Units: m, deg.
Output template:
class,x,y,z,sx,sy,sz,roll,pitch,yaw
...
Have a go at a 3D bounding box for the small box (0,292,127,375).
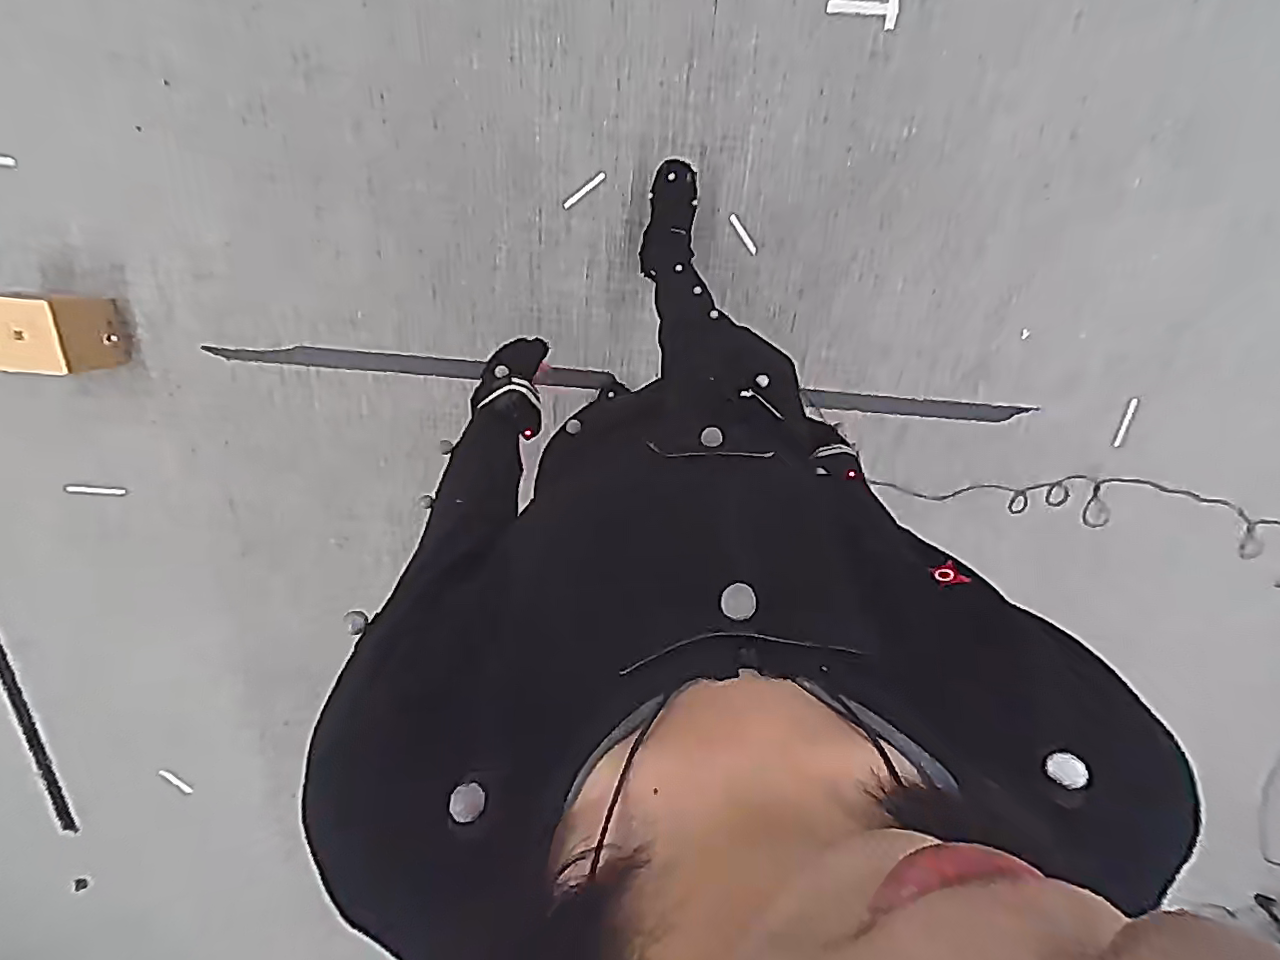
class,x,y,z,sx,sy,sz,roll,pitch,yaw
small box,-1.376,-0.347,1.266,0.179,0.176,0.168,3,111,-4
